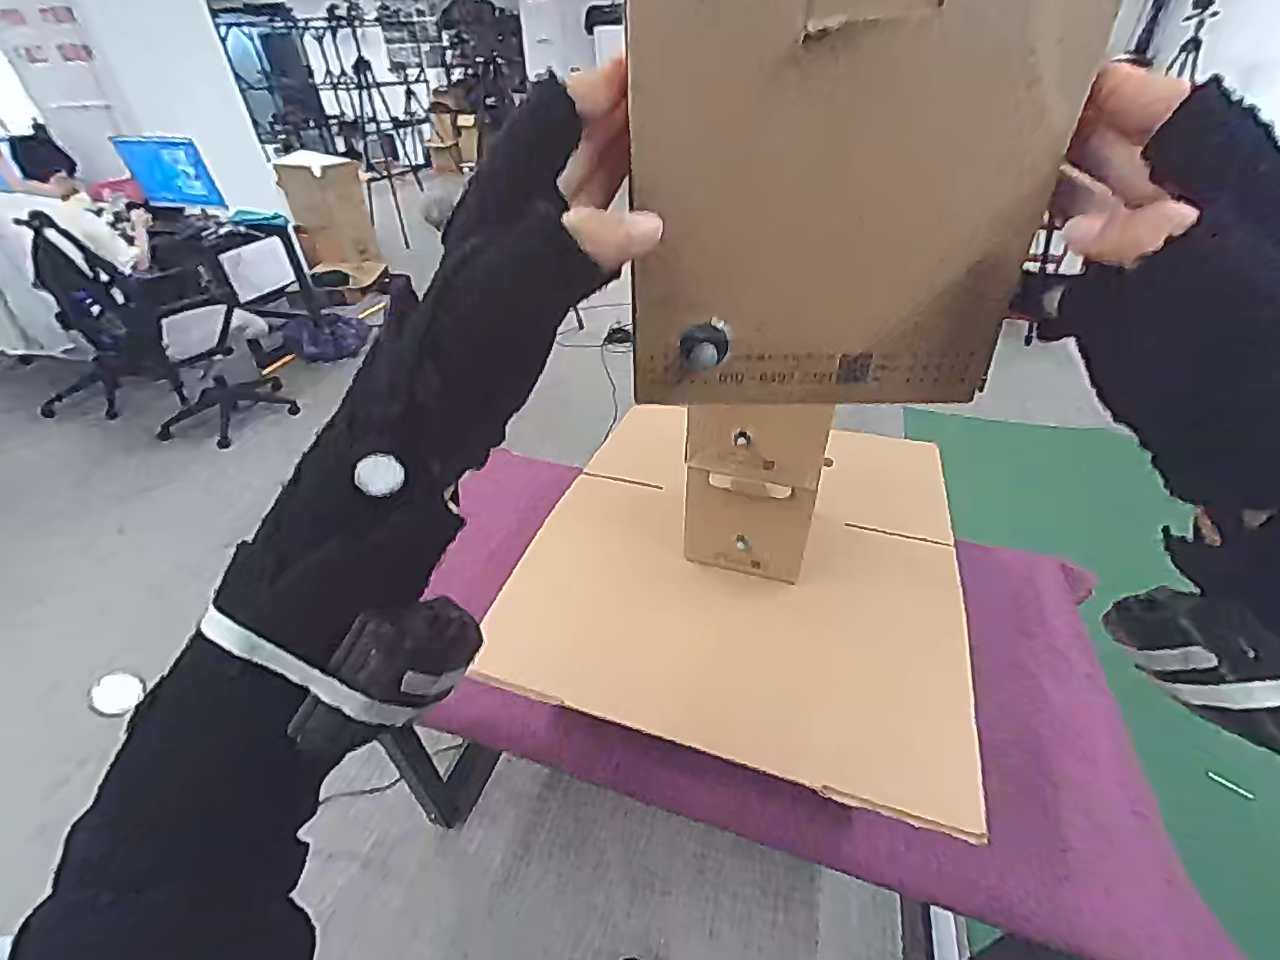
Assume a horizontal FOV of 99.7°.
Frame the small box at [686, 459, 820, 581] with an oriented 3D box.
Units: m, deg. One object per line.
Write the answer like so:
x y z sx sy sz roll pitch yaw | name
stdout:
0.166 0.016 0.792 0.168 0.176 0.179 10 38 16 | small box

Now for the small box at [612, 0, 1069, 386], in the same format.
0.077 -0.160 0.294 0.168 0.176 0.179 0 35 2 | small box

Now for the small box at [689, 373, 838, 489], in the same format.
0.161 -0.115 0.695 0.168 0.176 0.179 11 39 16 | small box
